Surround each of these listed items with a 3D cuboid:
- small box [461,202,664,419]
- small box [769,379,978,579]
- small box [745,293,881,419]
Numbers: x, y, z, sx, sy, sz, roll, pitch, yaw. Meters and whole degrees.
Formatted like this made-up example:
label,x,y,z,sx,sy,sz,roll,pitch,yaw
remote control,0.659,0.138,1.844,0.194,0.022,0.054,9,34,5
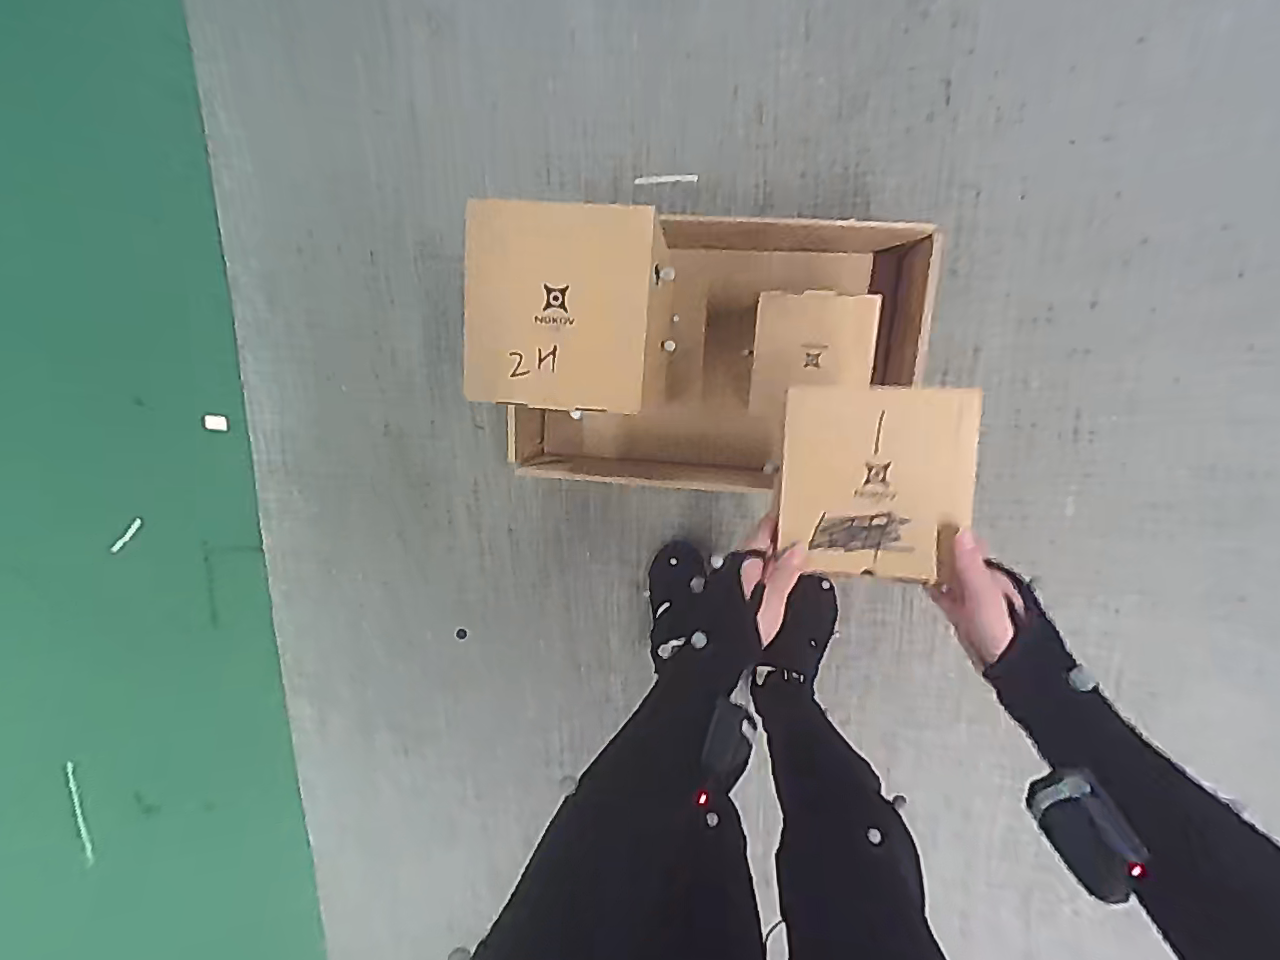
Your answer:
label,x,y,z,sx,sy,sz,roll,pitch,yaw
small box,-0.066,-0.159,0.549,0.168,0.176,0.179,5,100,6
small box,0.225,-0.007,0.566,0.168,0.176,0.179,3,93,11
small box,0.254,-0.183,0.835,0.168,0.176,0.179,5,102,9
